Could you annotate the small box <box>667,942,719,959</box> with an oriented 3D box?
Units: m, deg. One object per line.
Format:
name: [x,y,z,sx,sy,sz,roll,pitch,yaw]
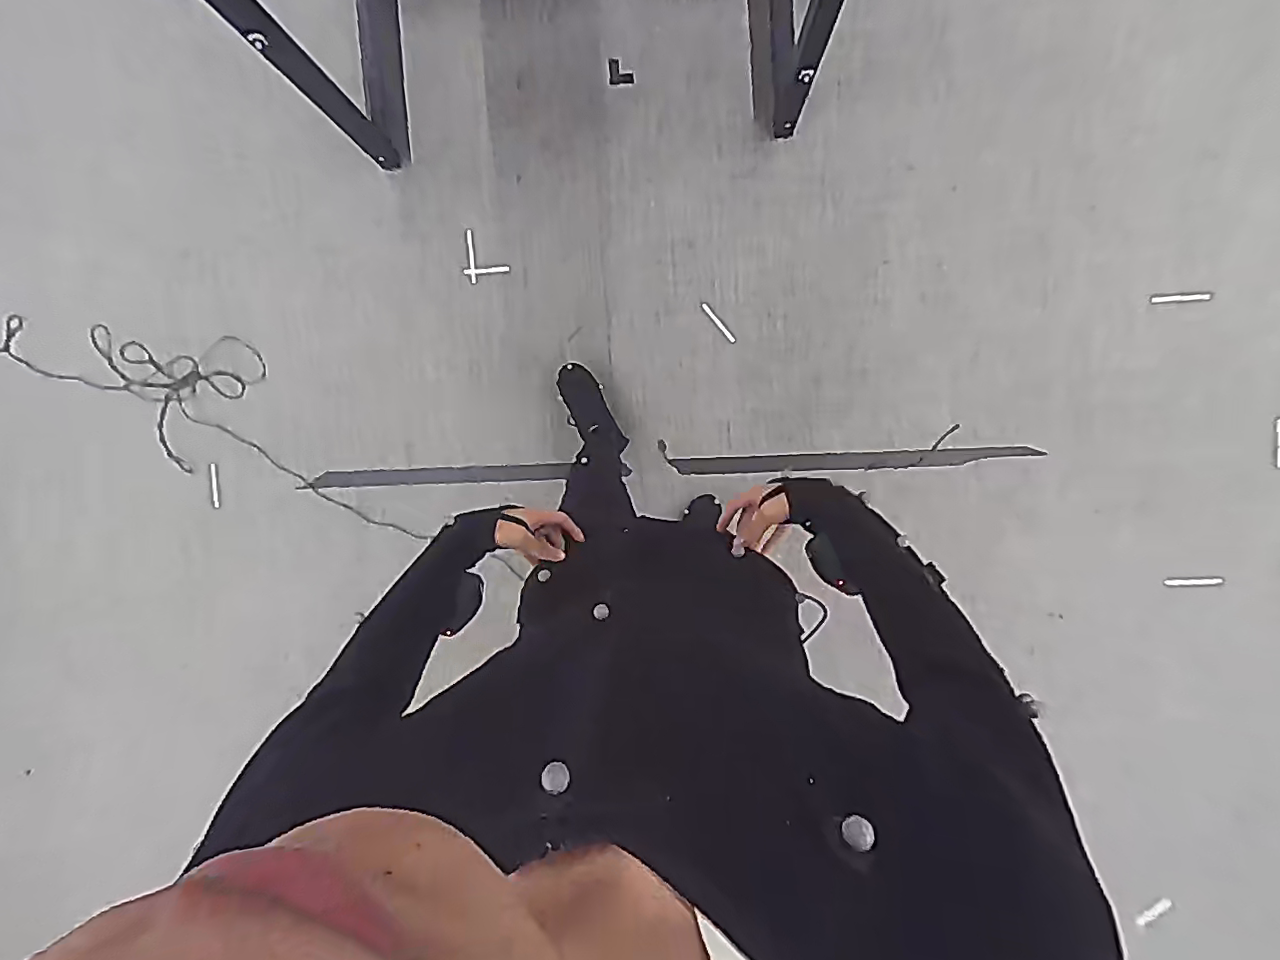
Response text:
small box: [0.165,1.562,1.640,0.168,0.176,0.179,-1,94,3]
